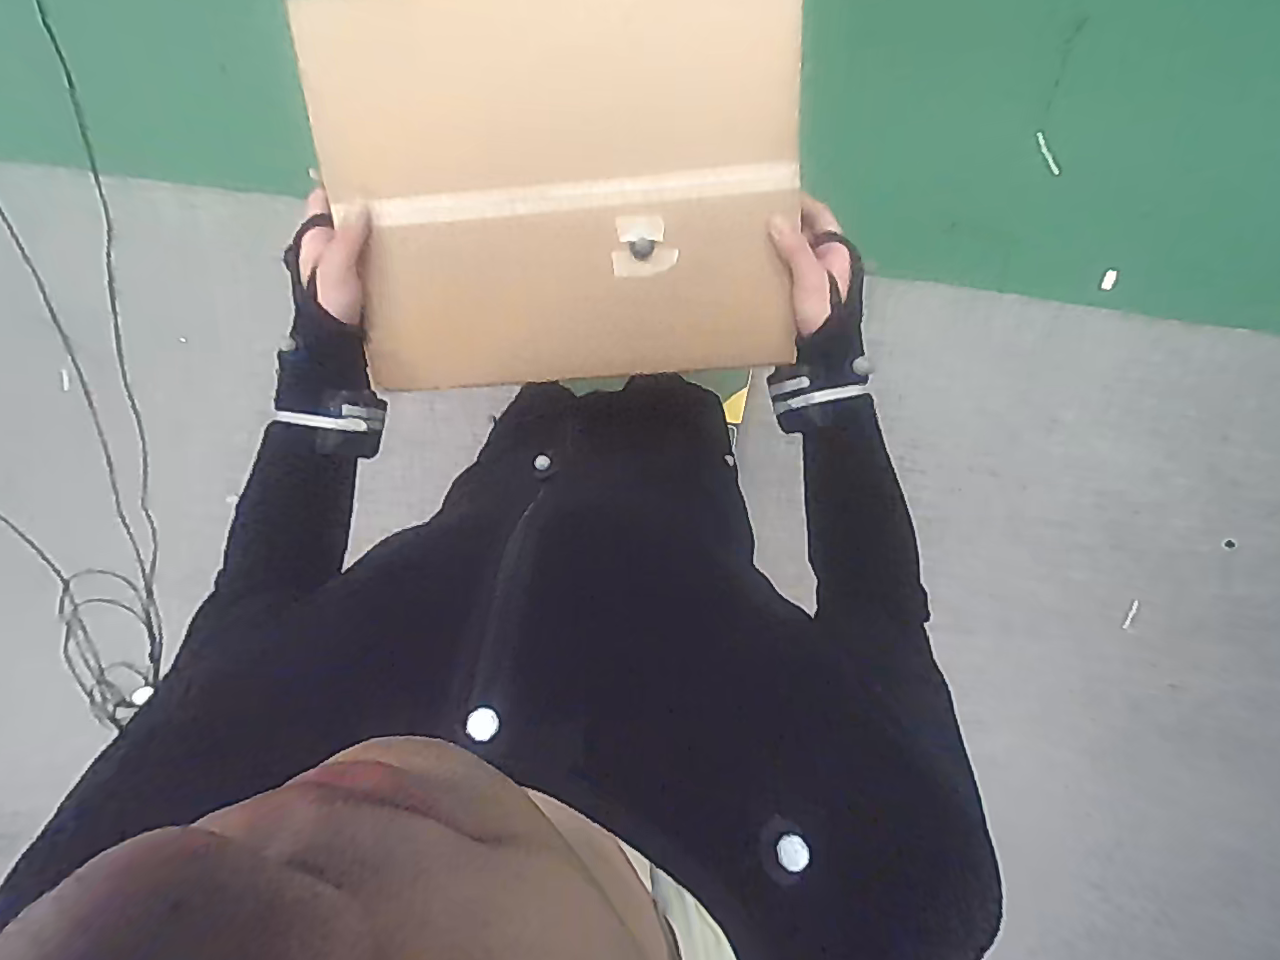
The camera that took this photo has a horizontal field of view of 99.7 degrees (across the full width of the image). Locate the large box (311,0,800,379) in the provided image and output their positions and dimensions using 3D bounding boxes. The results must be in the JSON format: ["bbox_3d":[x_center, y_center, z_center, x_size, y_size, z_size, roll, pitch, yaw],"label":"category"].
[{"bbox_3d":[-0.059,-0.304,0.617,0.408,0.320,0.320,-4,109,2],"label":"large box"}]
